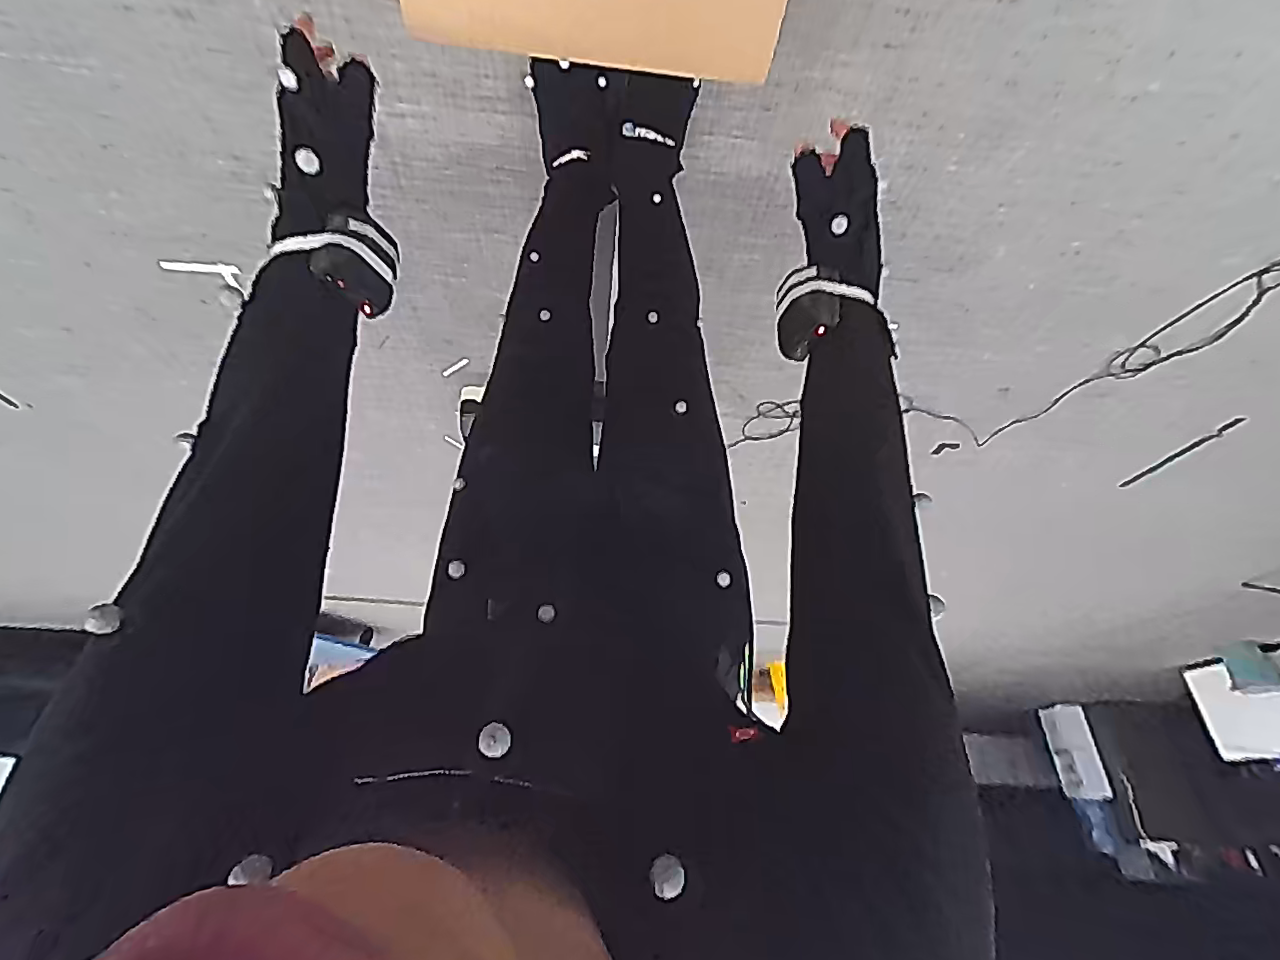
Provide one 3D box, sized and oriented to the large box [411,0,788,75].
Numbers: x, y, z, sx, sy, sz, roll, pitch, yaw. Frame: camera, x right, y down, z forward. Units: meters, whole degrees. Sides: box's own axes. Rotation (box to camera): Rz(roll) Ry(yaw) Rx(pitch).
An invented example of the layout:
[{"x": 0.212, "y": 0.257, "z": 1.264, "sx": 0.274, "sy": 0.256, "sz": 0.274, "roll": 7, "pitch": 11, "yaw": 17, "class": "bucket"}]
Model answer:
[{"x": -0.035, "y": -0.682, "z": 0.560, "sx": 0.408, "sy": 0.320, "sz": 0.320, "roll": 4, "pitch": 149, "yaw": -4, "class": "large box"}]
